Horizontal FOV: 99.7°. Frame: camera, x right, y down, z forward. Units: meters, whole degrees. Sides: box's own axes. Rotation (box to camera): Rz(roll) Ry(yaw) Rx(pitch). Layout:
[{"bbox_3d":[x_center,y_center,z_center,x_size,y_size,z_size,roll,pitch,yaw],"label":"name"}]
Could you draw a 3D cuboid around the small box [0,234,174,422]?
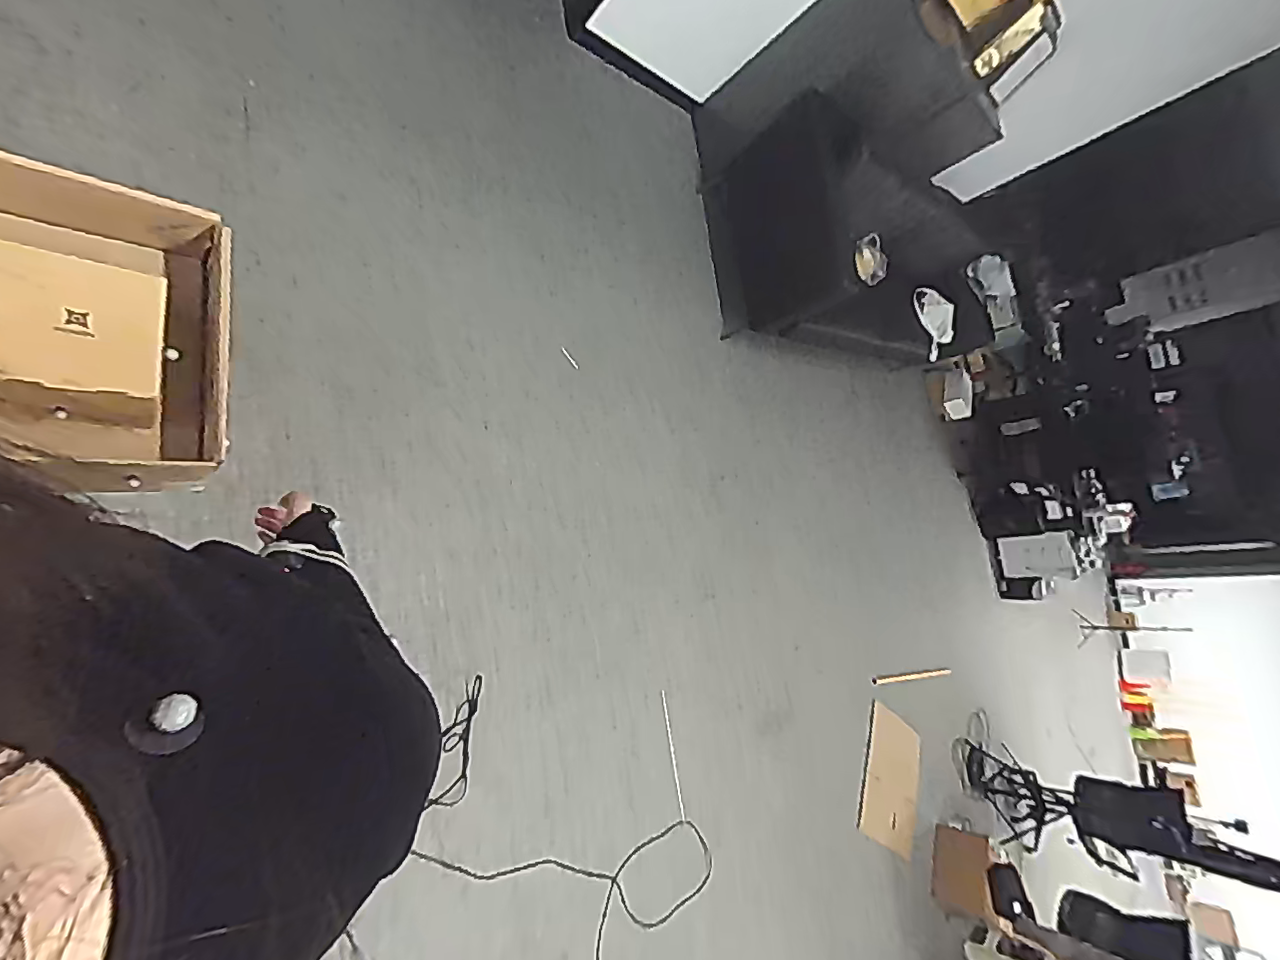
[{"bbox_3d":[-0.756,-0.190,0.738,0.168,0.176,0.179,4,79,-42],"label":"small box"}]
